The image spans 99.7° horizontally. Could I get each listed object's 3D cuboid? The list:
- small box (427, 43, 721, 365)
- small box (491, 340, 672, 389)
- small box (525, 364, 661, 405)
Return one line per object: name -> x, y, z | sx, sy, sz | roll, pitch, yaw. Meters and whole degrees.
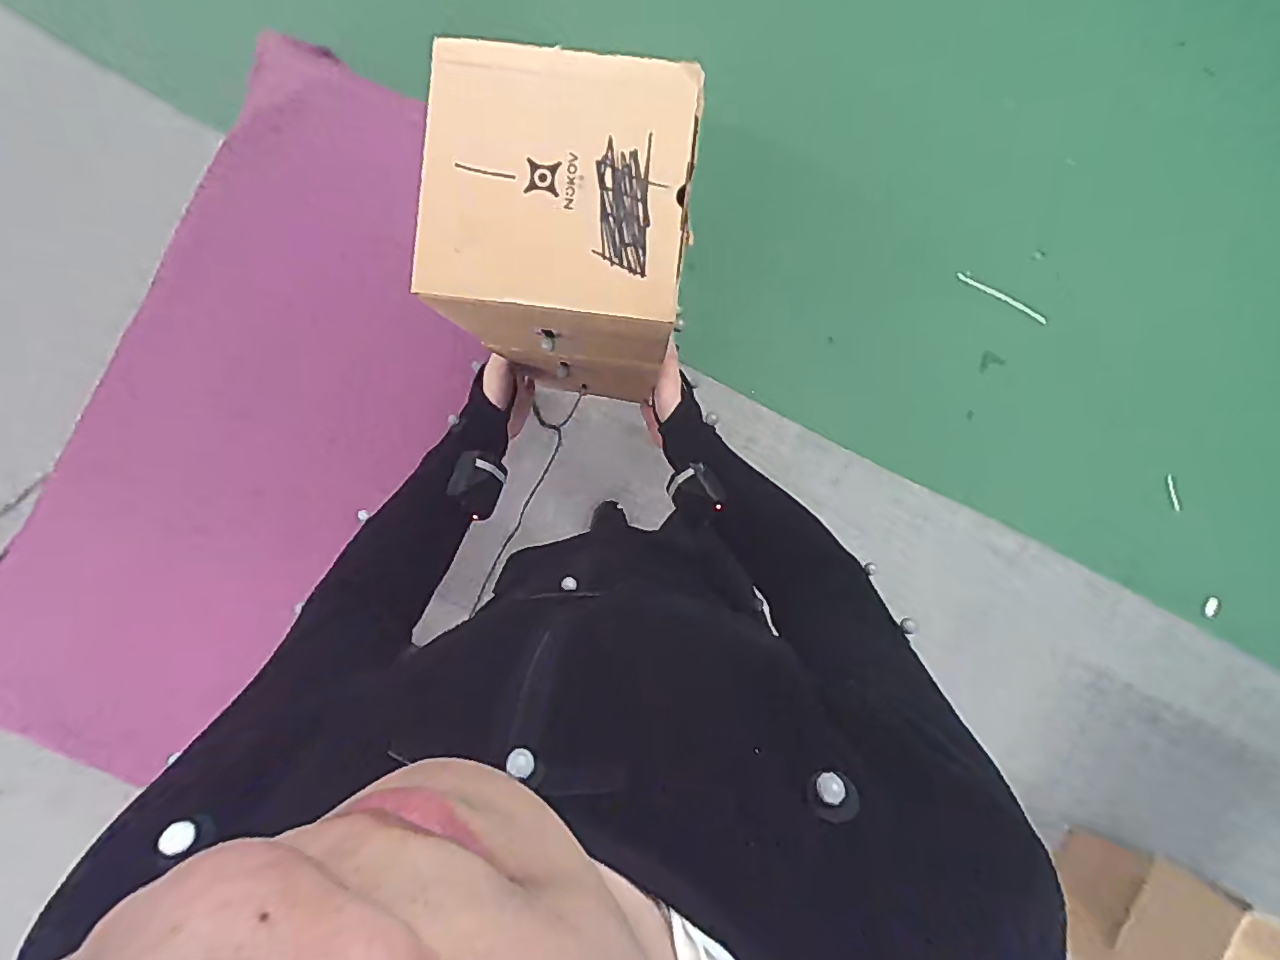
small box -> -0.044, -0.191, 0.430 | 0.179, 0.176, 0.168 | 7, 93, 0
small box -> -0.045, -0.198, 0.594 | 0.179, 0.176, 0.168 | 9, 94, 0
small box -> -0.046, -0.205, 0.758 | 0.179, 0.176, 0.168 | 11, 93, -1
